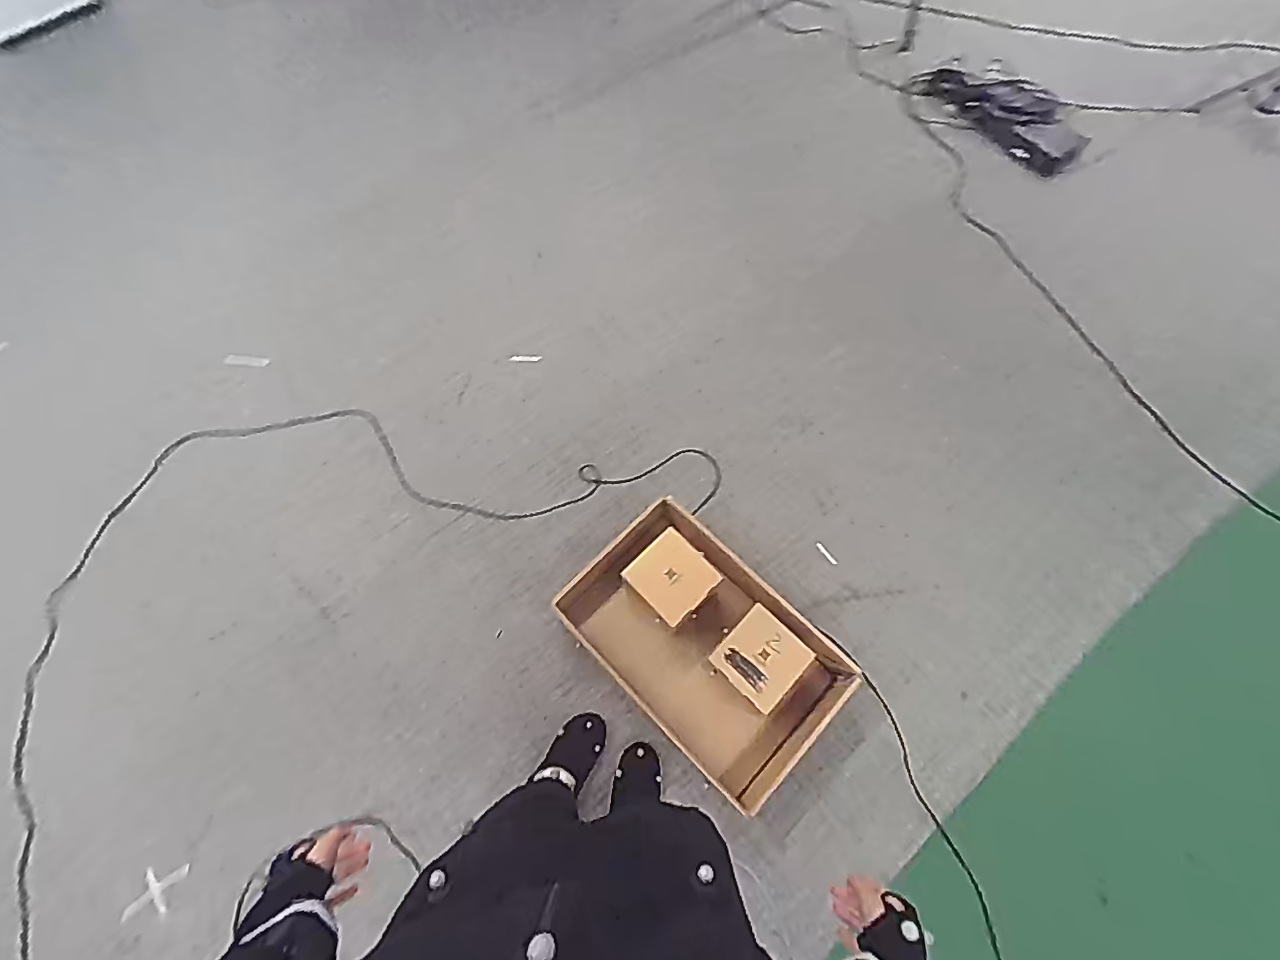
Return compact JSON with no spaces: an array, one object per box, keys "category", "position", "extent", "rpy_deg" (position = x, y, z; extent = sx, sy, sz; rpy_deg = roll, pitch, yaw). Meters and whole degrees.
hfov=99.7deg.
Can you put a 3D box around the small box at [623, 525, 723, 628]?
[{"category":"small box","position":[0.076,0.244,1.323],"extent":[0.168,0.176,0.179],"rpy_deg":[-42,74,-14]}]
